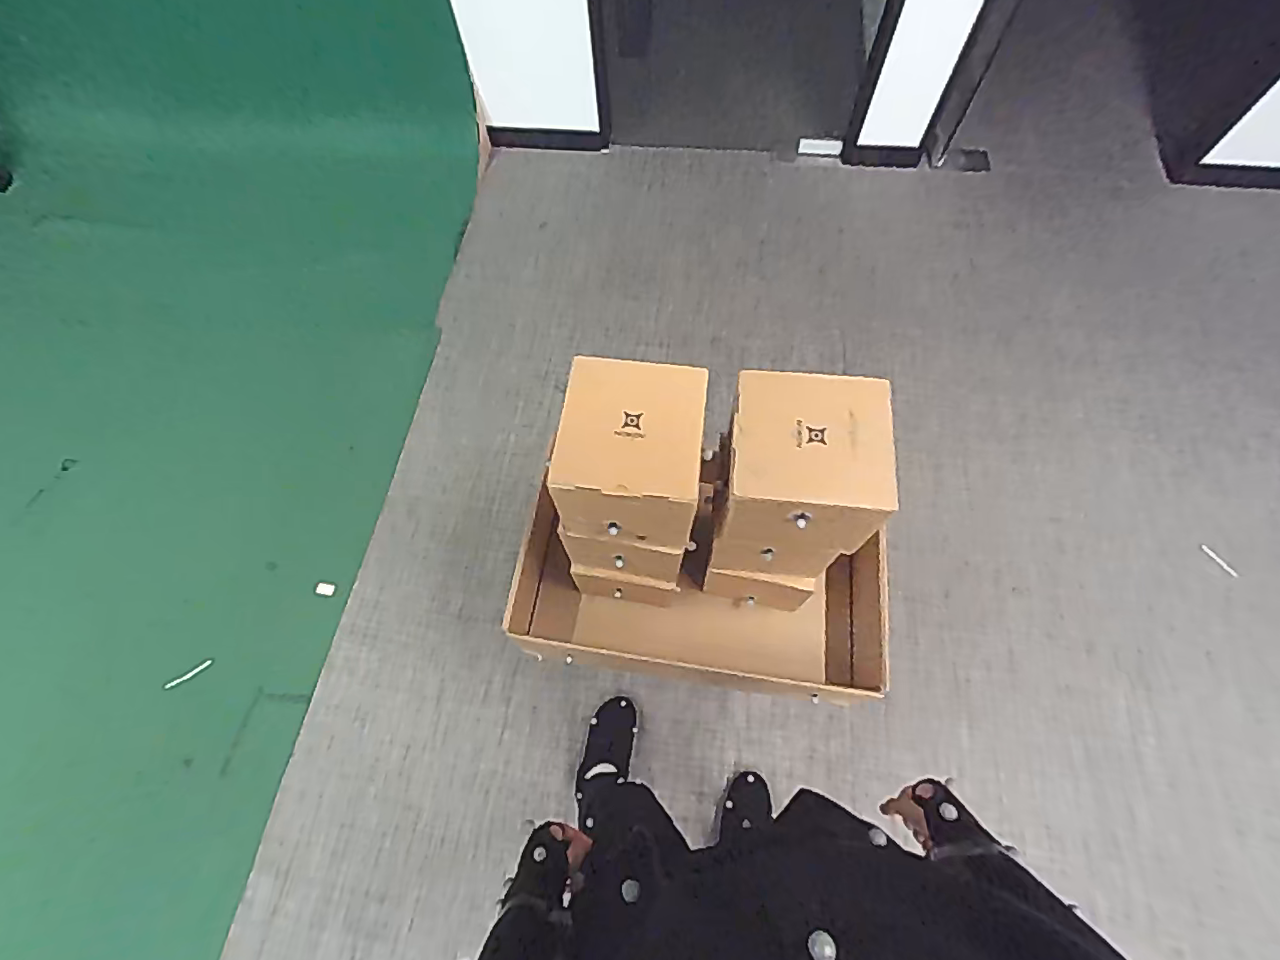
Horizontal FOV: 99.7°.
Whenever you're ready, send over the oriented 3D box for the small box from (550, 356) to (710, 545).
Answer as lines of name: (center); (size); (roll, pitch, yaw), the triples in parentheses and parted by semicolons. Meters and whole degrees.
small box: (-0.007, -0.031, 0.690); (0.168, 0.176, 0.179); (6, 66, 4)
